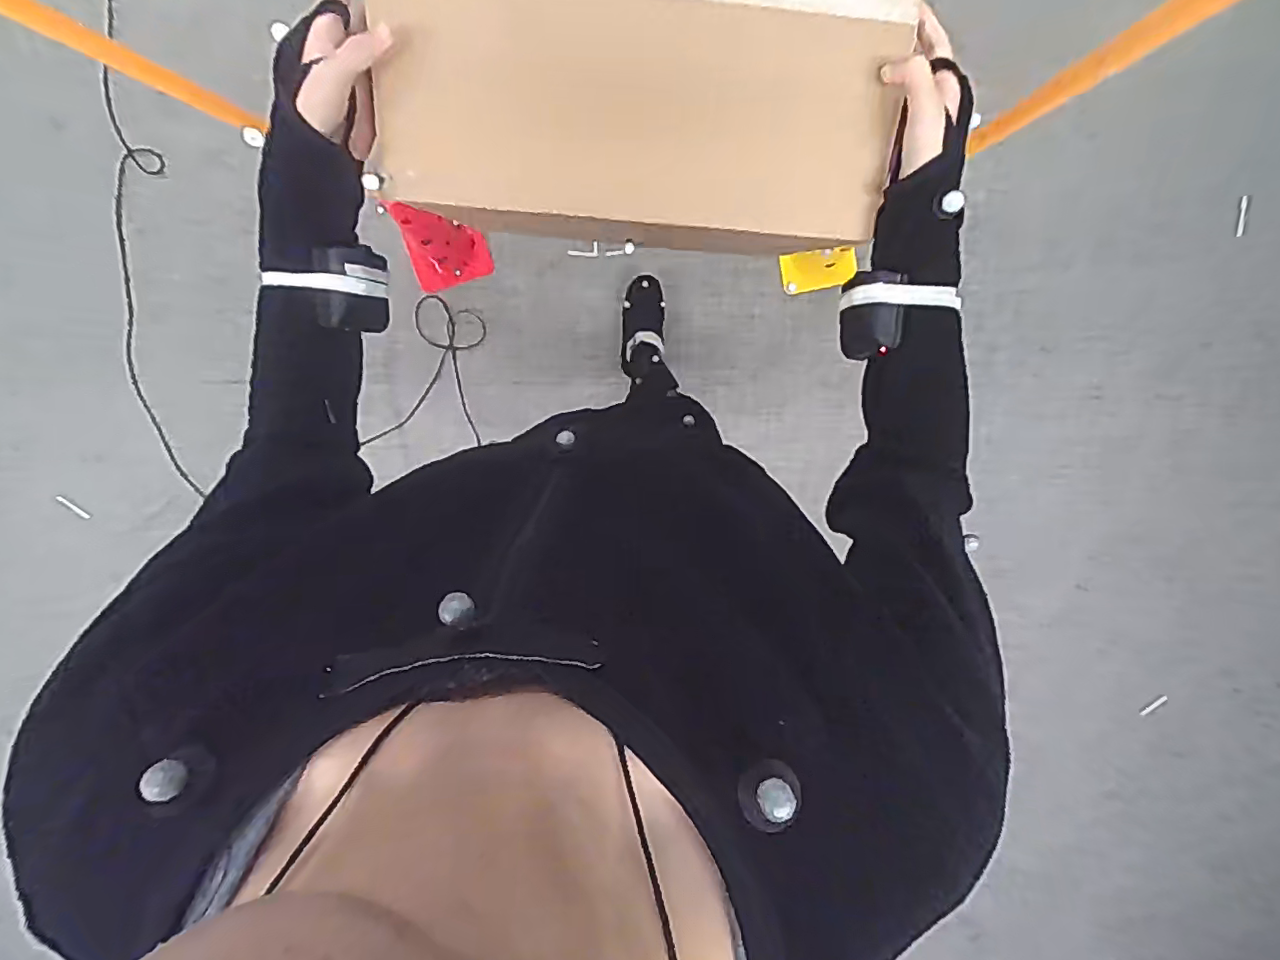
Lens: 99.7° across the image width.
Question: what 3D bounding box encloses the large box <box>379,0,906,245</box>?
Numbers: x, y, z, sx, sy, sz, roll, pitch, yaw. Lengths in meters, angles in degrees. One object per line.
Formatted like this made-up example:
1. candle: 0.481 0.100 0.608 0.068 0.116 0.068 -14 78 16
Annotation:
1. large box: 0.002 -0.419 0.543 0.408 0.320 0.320 4 110 -3
